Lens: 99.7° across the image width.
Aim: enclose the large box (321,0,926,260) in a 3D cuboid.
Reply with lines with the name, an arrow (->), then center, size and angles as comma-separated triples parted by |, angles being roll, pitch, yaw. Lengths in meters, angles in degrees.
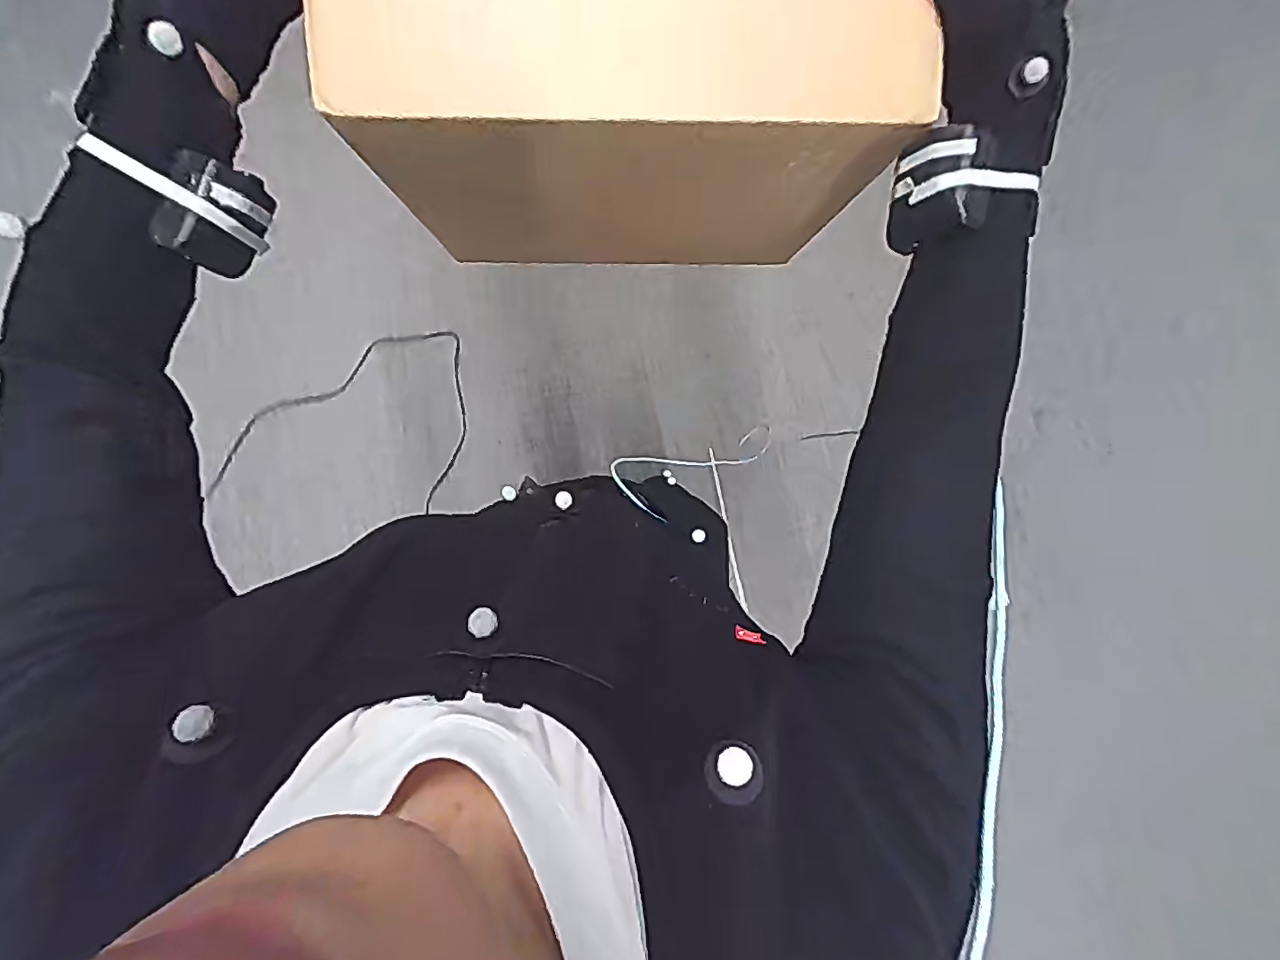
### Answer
large box -> -0.019, -0.410, 0.494 | 0.408, 0.320, 0.320 | -2, 95, -4
